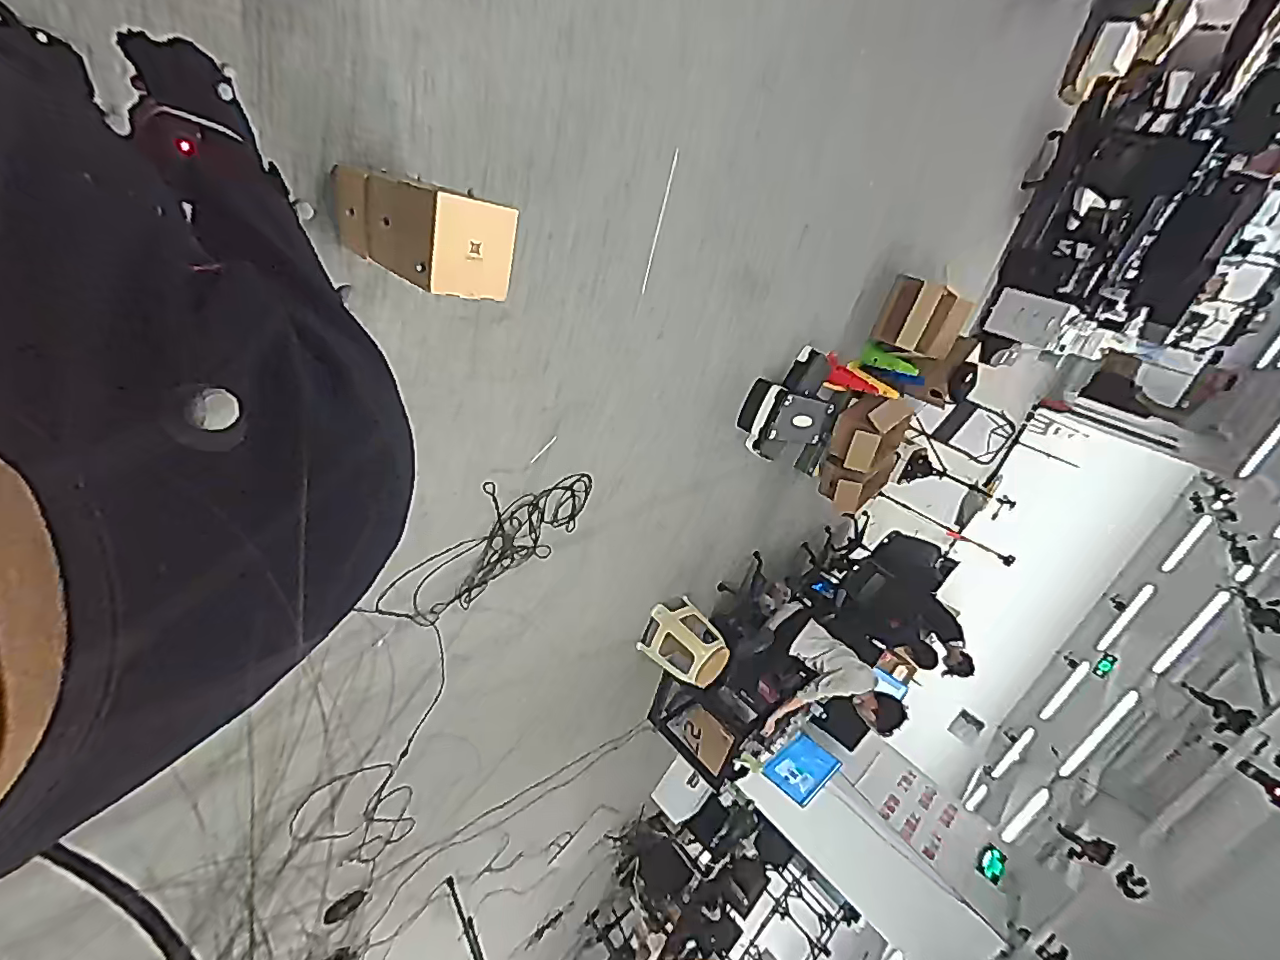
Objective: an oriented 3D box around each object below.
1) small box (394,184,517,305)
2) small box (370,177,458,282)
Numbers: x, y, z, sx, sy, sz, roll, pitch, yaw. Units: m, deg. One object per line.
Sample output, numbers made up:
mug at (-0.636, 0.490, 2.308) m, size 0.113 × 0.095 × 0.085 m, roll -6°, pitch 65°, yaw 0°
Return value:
small box at (-0.364, -0.459, 1.057) m, size 0.168 × 0.176 × 0.179 m, roll -11°, pitch 126°, yaw -44°
small box at (-0.466, -0.532, 1.163) m, size 0.168 × 0.176 × 0.179 m, roll -14°, pitch 127°, yaw -43°
